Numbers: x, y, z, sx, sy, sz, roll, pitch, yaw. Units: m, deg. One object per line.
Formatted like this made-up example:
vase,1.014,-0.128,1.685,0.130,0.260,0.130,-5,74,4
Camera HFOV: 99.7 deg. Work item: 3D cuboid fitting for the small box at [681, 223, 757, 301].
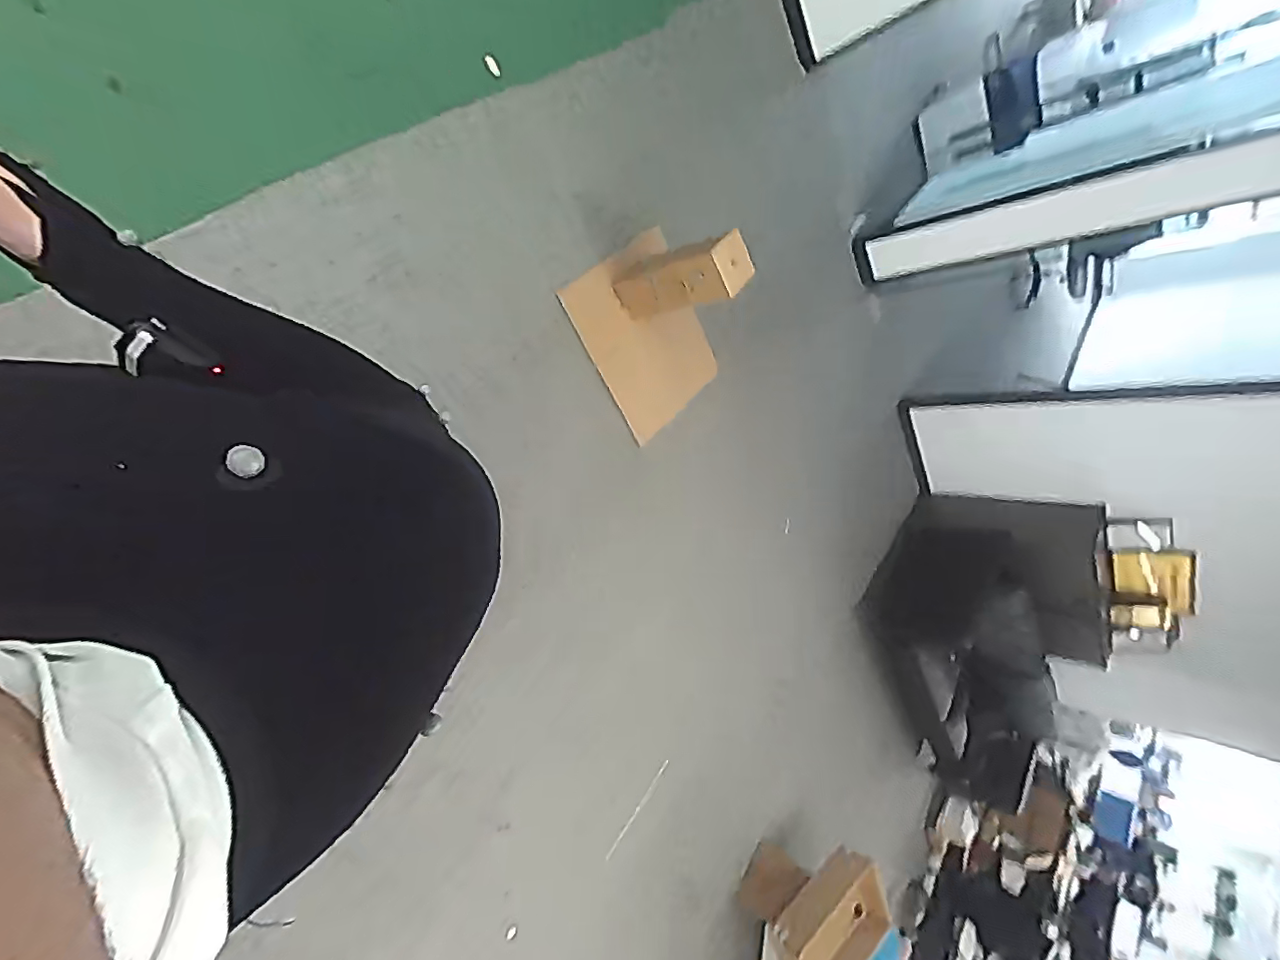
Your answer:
small box,0.259,-0.729,1.826,0.179,0.176,0.168,-50,123,-27

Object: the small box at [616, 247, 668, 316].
small box,0.040,-0.754,2.065,0.179,0.176,0.168,-53,125,-24

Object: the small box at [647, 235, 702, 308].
small box,0.148,-0.743,1.943,0.179,0.176,0.168,-51,124,-27
